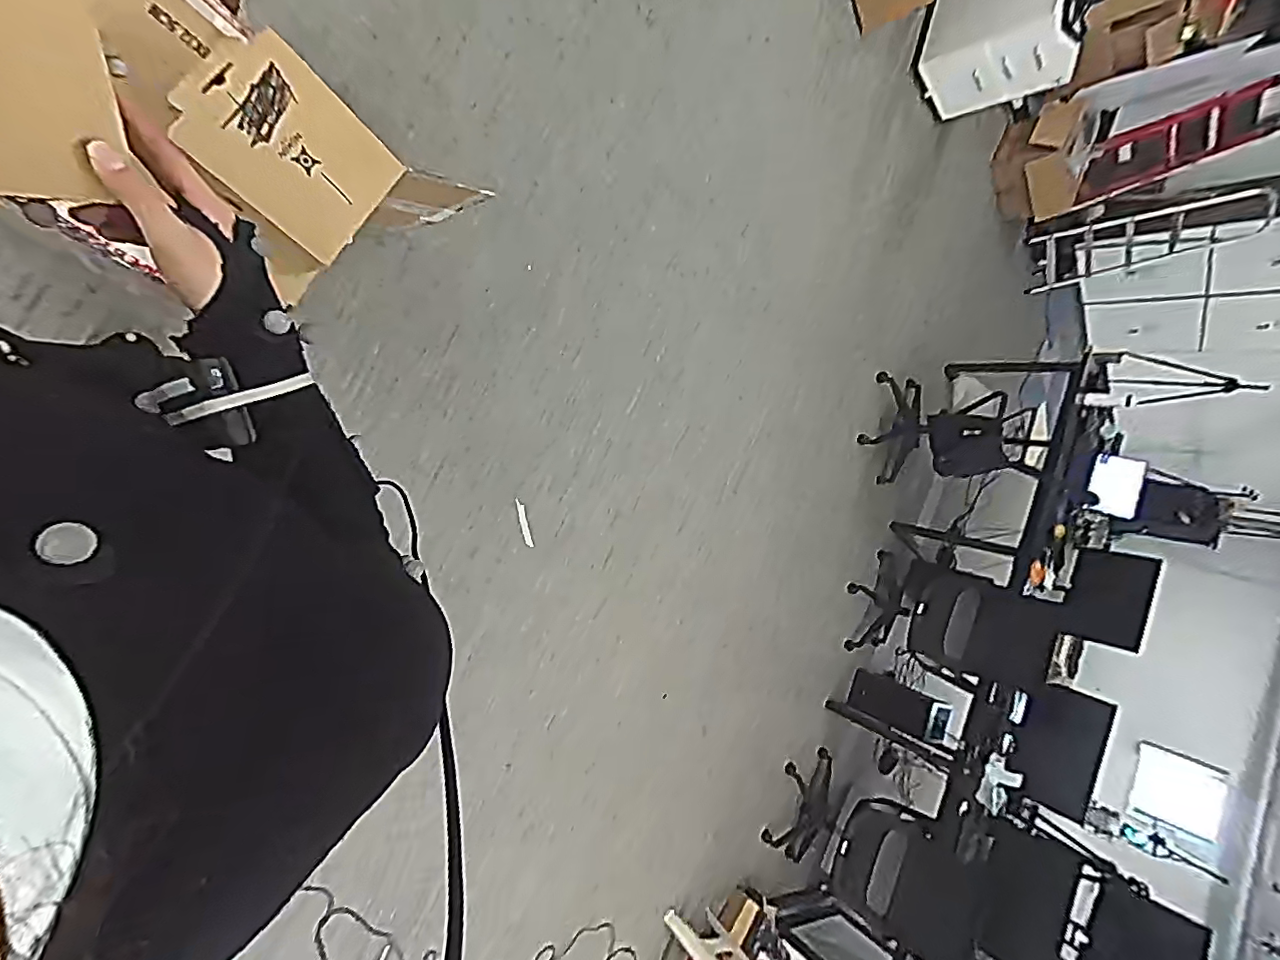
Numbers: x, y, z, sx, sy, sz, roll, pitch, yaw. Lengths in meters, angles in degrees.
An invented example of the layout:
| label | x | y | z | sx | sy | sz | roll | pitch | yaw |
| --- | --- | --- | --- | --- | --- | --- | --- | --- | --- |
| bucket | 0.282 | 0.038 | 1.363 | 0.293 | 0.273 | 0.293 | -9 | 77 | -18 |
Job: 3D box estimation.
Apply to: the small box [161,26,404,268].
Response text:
| label | x | y | z | sx | sy | sz | roll | pitch | yaw |
| --- | --- | --- | --- | --- | --- | --- | --- | --- | --- |
| small box | -0.435 | -0.380 | 0.657 | 0.179 | 0.176 | 0.168 | 43 | 72 | -43 |
